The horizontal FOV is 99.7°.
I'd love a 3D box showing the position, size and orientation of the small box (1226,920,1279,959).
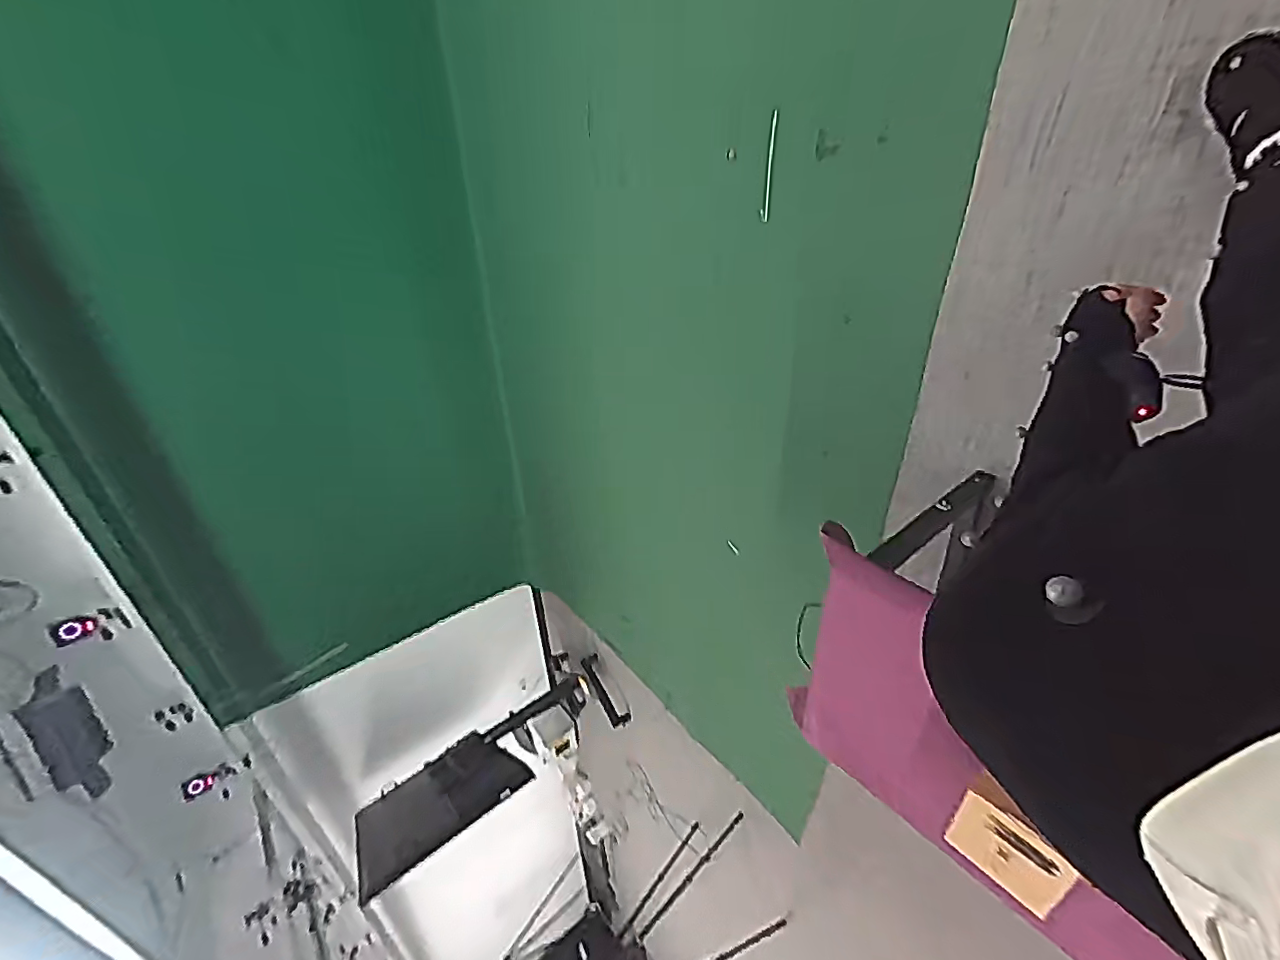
[{"bbox_3d":[0.896,0.744,0.708,0.168,0.176,0.179,31,134,42],"label":"small box"}]
